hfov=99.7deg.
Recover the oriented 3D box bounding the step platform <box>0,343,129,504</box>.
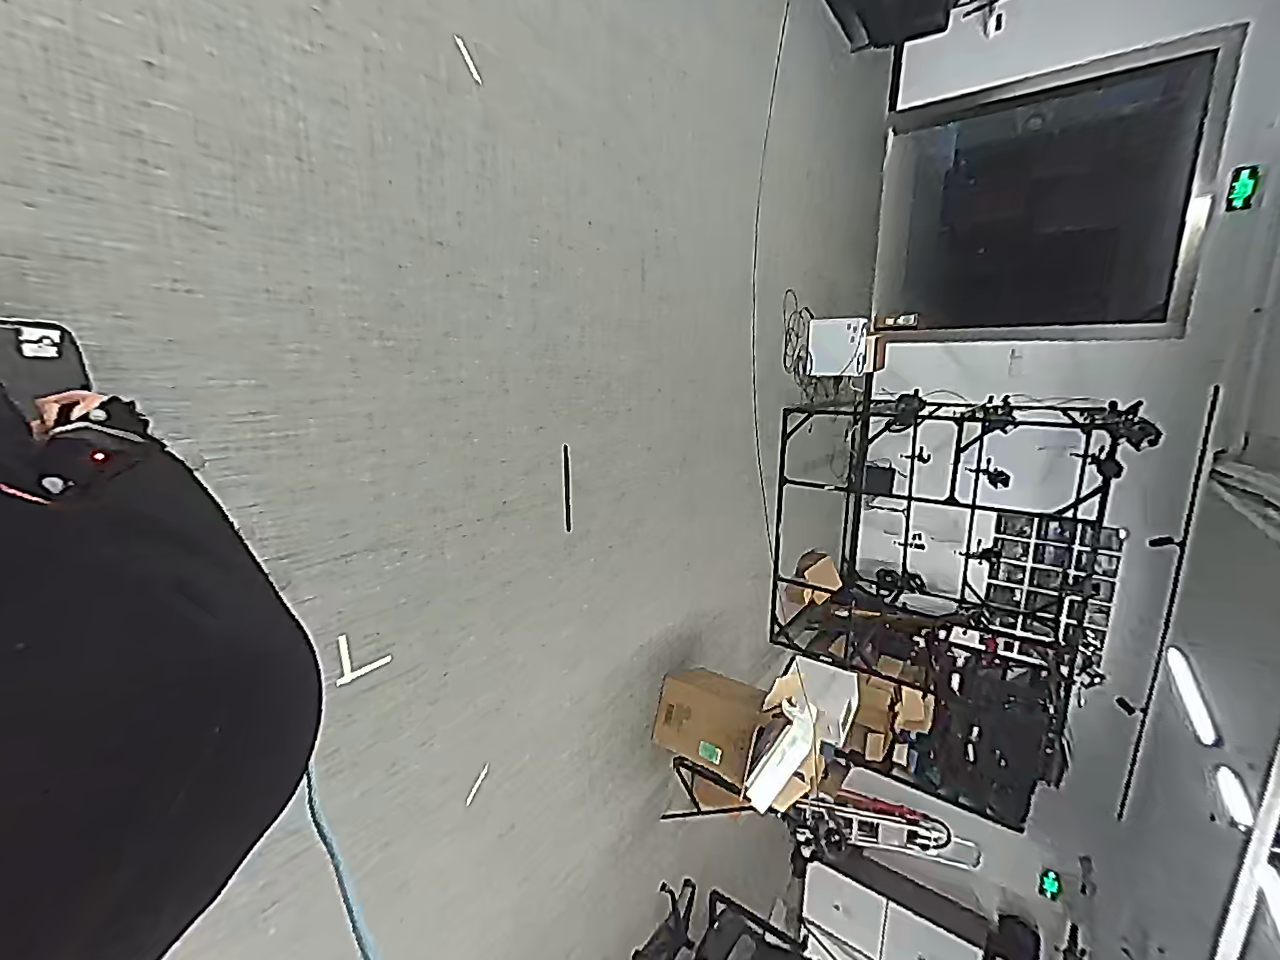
[{"bbox_3d":[-1.262,-0.094,0.837,0.684,0.204,0.286,-7,102,-55],"label":"step platform"}]
